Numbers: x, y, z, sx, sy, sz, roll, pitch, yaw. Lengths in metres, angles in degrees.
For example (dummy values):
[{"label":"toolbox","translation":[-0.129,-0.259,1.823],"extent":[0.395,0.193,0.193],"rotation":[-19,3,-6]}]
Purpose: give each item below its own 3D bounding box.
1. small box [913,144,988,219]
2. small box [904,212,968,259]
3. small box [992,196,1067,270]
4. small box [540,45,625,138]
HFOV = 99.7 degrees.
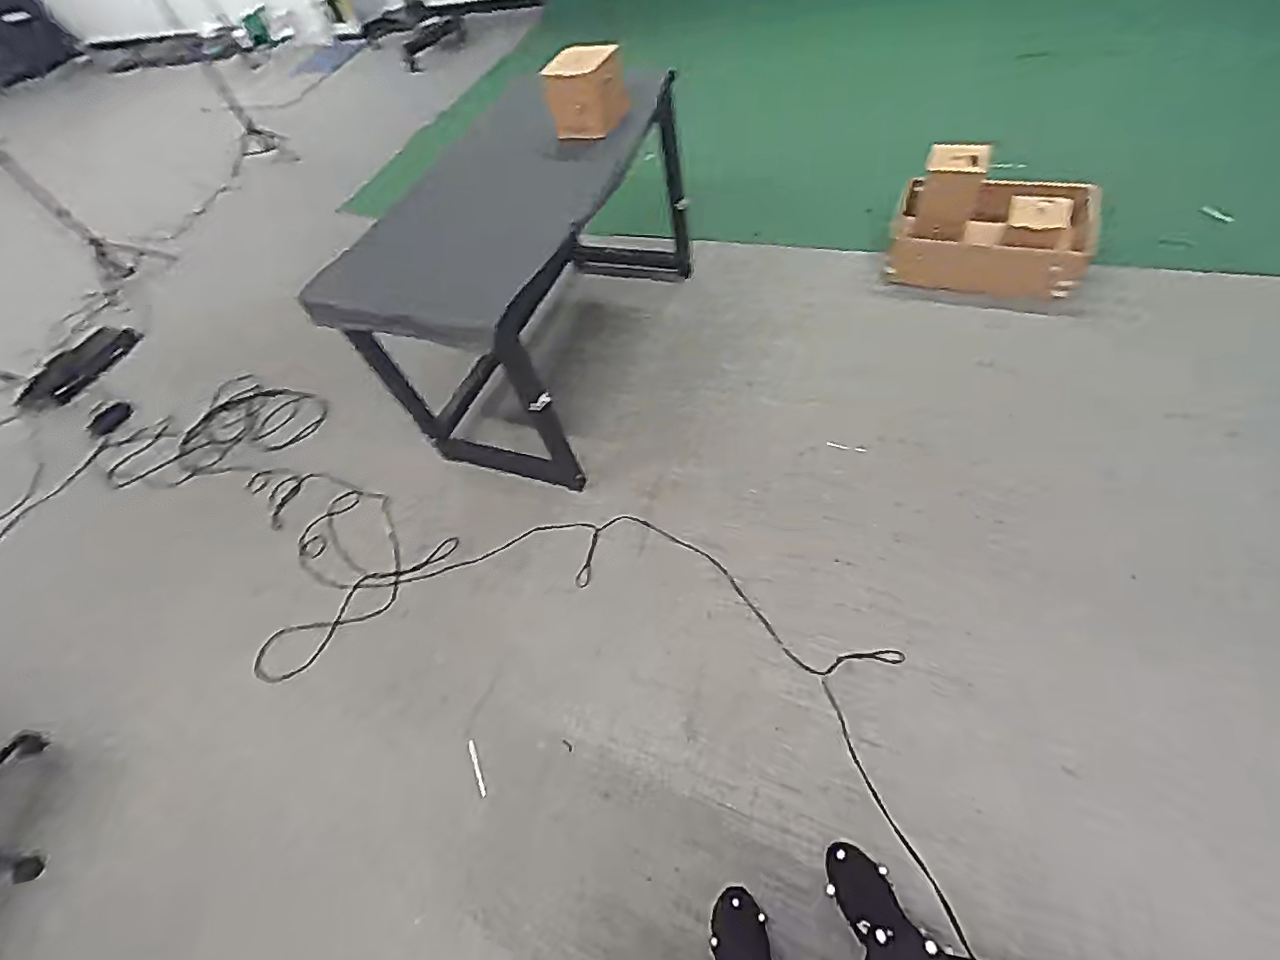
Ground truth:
[{"label":"small box","translation":[1.072,-1.030,1.871],"extent":[0.179,0.176,0.168],"rotation":[15,62,21]},{"label":"small box","translation":[1.101,-0.945,2.009],"extent":[0.179,0.176,0.168],"rotation":[15,62,19]},{"label":"small box","translation":[1.367,-0.868,1.906],"extent":[0.168,0.176,0.179],"rotation":[16,63,22]},{"label":"small box","translation":[-0.157,-1.118,1.562],"extent":[0.168,0.176,0.179],"rotation":[16,61,22]}]
